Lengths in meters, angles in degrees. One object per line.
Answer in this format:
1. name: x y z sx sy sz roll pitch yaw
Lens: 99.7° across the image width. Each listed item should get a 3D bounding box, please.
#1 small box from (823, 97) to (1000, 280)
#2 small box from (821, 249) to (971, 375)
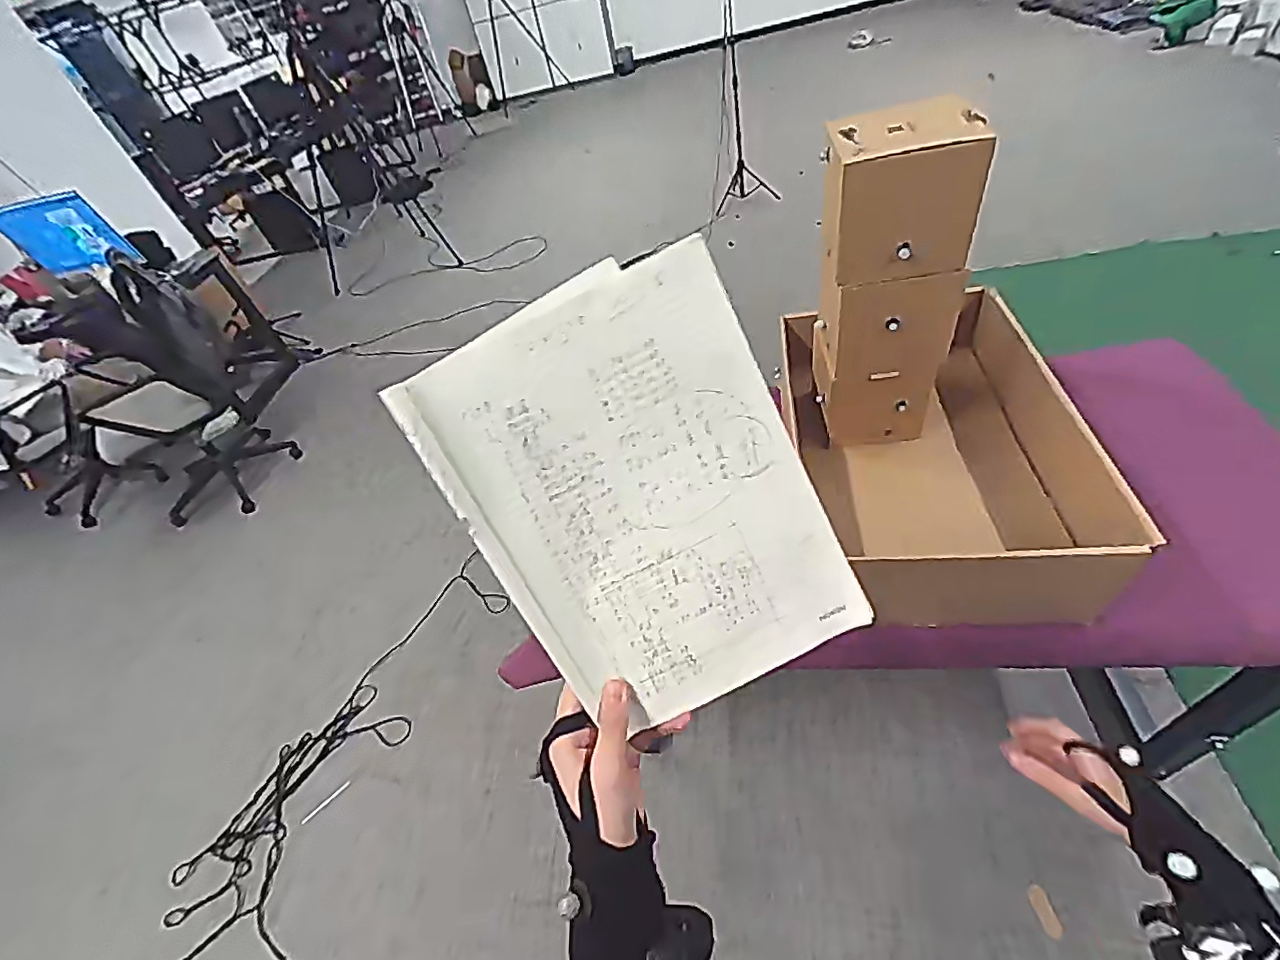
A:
1. small box: 0.362 -0.404 0.761 0.179 0.176 0.168 -3 47 12
2. small box: 0.398 -0.292 0.876 0.179 0.176 0.168 -6 47 11
